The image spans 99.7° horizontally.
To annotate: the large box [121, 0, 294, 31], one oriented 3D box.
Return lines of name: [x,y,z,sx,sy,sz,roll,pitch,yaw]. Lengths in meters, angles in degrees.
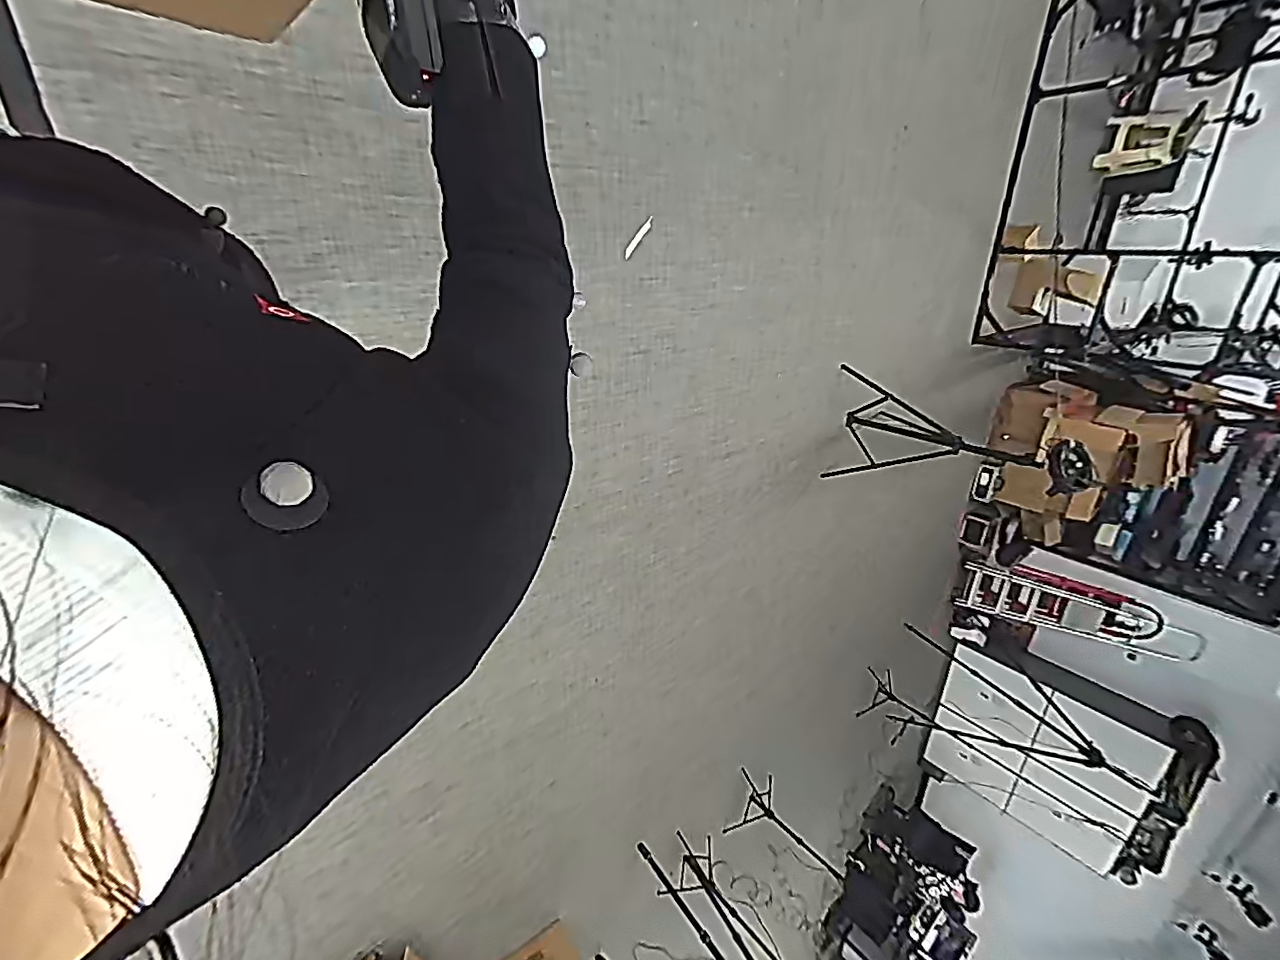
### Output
large box: [-0.390,-0.452,0.220,0.408,0.320,0.320,-16,123,-38]
